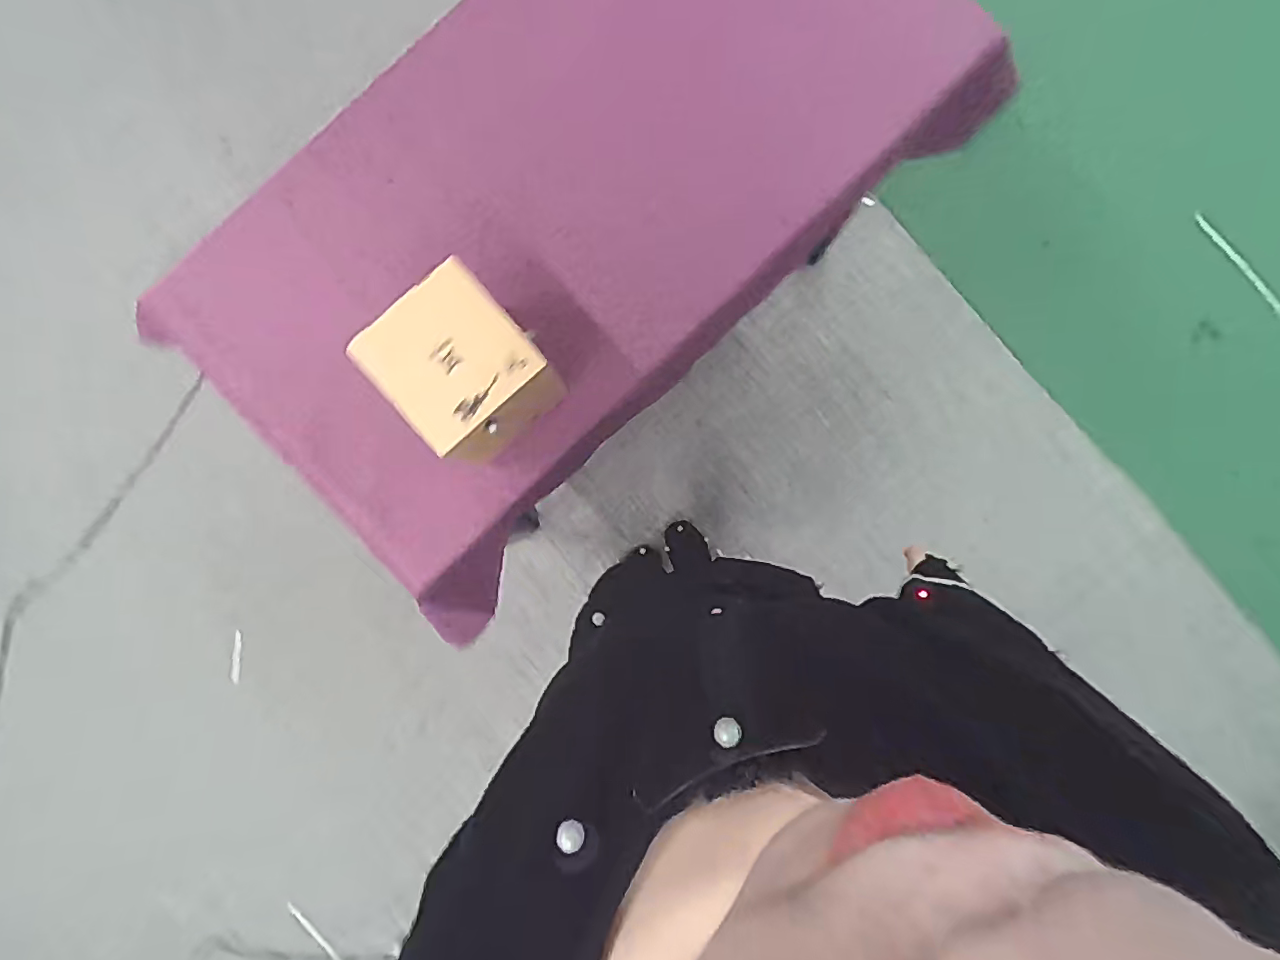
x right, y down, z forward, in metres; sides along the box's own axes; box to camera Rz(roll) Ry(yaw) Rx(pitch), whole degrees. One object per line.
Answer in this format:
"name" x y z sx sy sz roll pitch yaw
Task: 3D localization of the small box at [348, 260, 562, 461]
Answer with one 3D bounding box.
"small box" -0.227 -0.141 0.712 0.168 0.176 0.179 -42 87 0
